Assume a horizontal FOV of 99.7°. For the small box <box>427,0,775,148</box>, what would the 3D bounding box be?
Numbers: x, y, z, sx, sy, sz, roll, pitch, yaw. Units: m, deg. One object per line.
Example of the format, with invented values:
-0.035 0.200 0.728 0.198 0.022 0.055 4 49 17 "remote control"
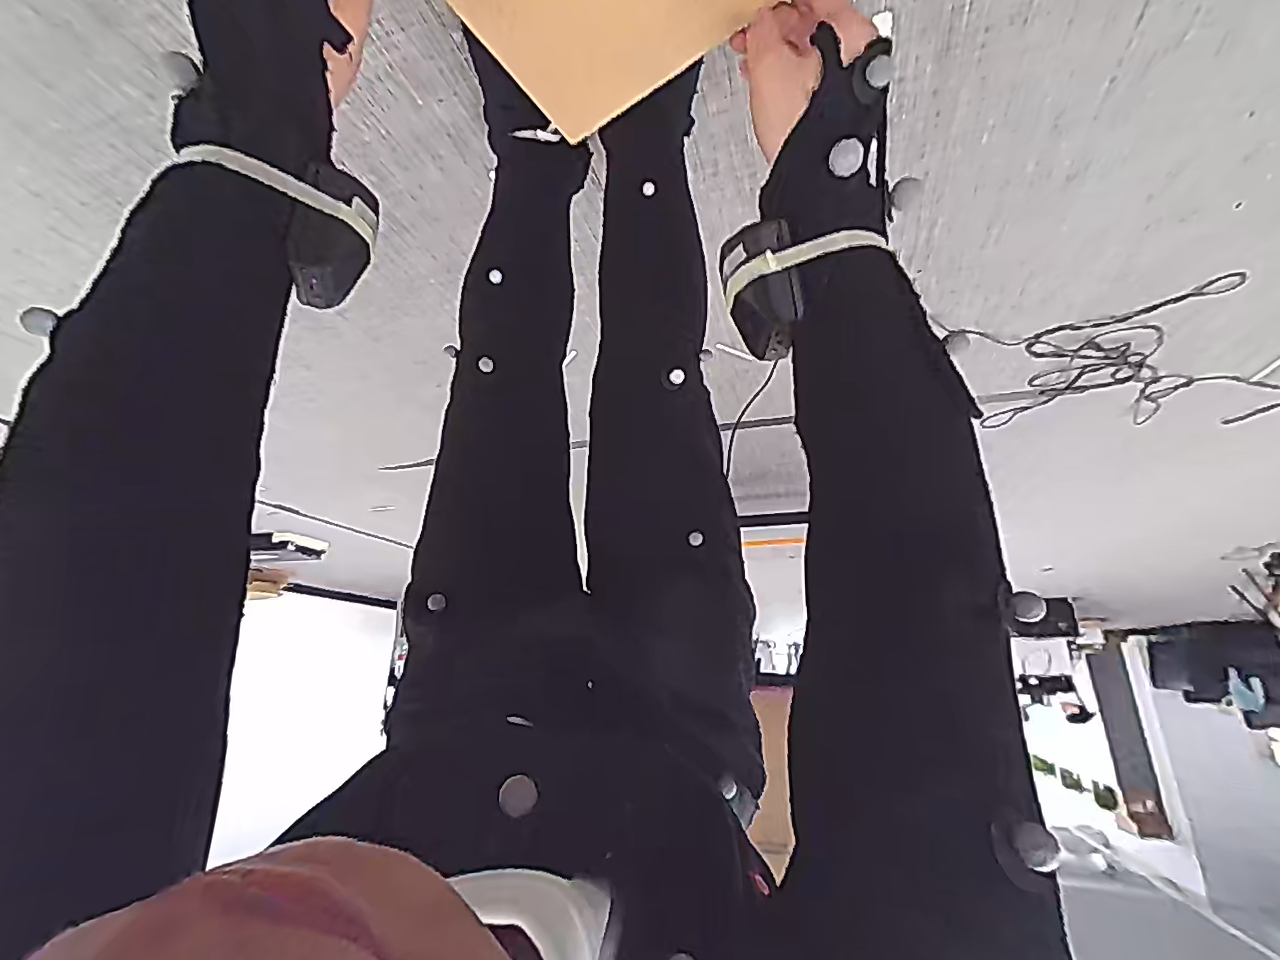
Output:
-0.032 -0.349 0.303 0.168 0.176 0.179 -11 154 35 "small box"
